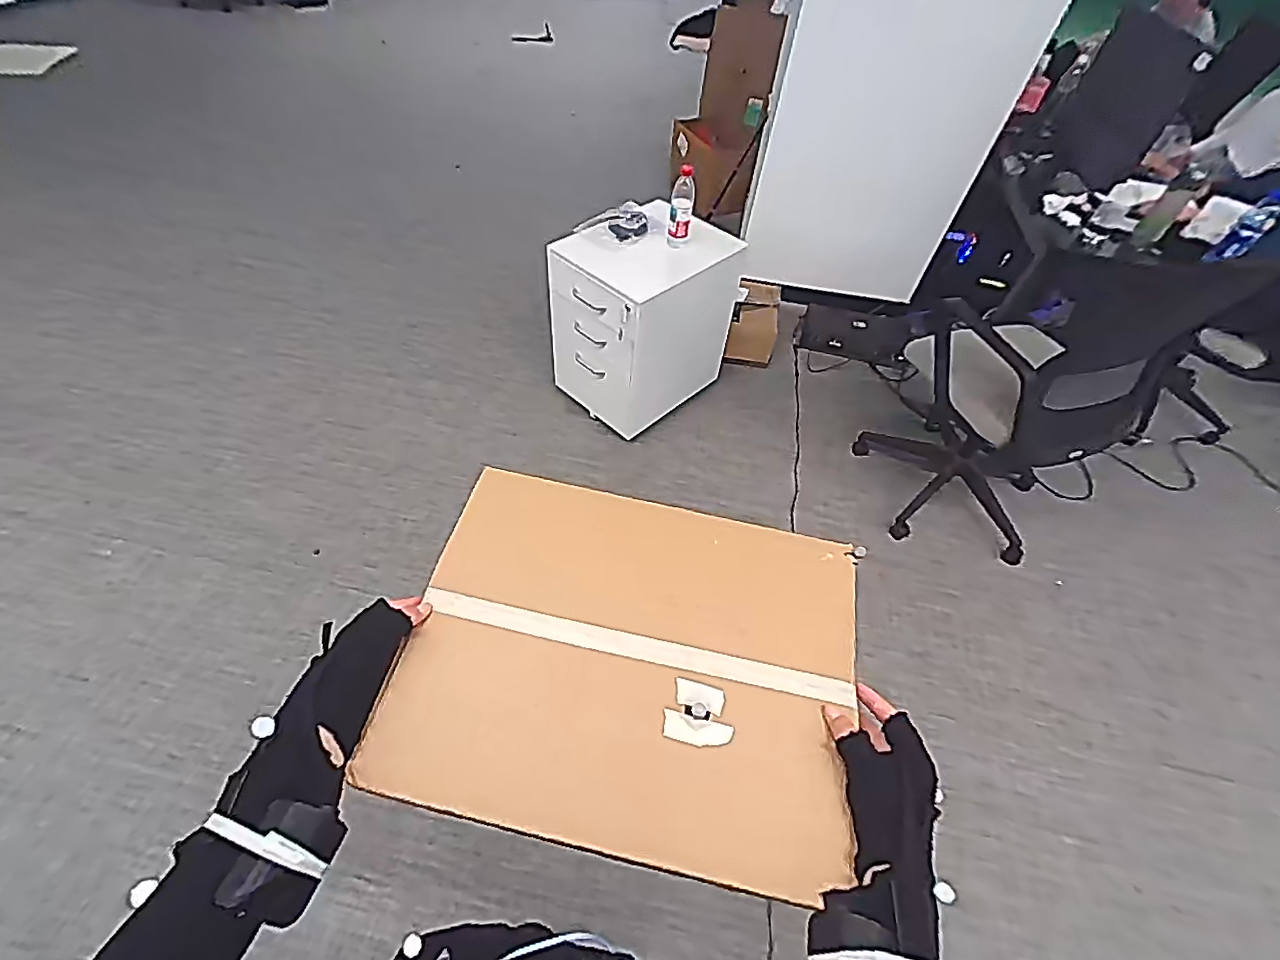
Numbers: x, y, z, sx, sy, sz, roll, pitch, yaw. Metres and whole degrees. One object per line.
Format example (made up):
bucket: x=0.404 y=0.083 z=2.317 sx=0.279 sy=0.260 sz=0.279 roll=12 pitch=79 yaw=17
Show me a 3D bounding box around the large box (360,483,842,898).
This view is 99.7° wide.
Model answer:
large box: x=-0.019 y=0.246 z=0.634 sx=0.408 sy=0.320 sz=0.320 roll=12 pitch=57 yaw=4
